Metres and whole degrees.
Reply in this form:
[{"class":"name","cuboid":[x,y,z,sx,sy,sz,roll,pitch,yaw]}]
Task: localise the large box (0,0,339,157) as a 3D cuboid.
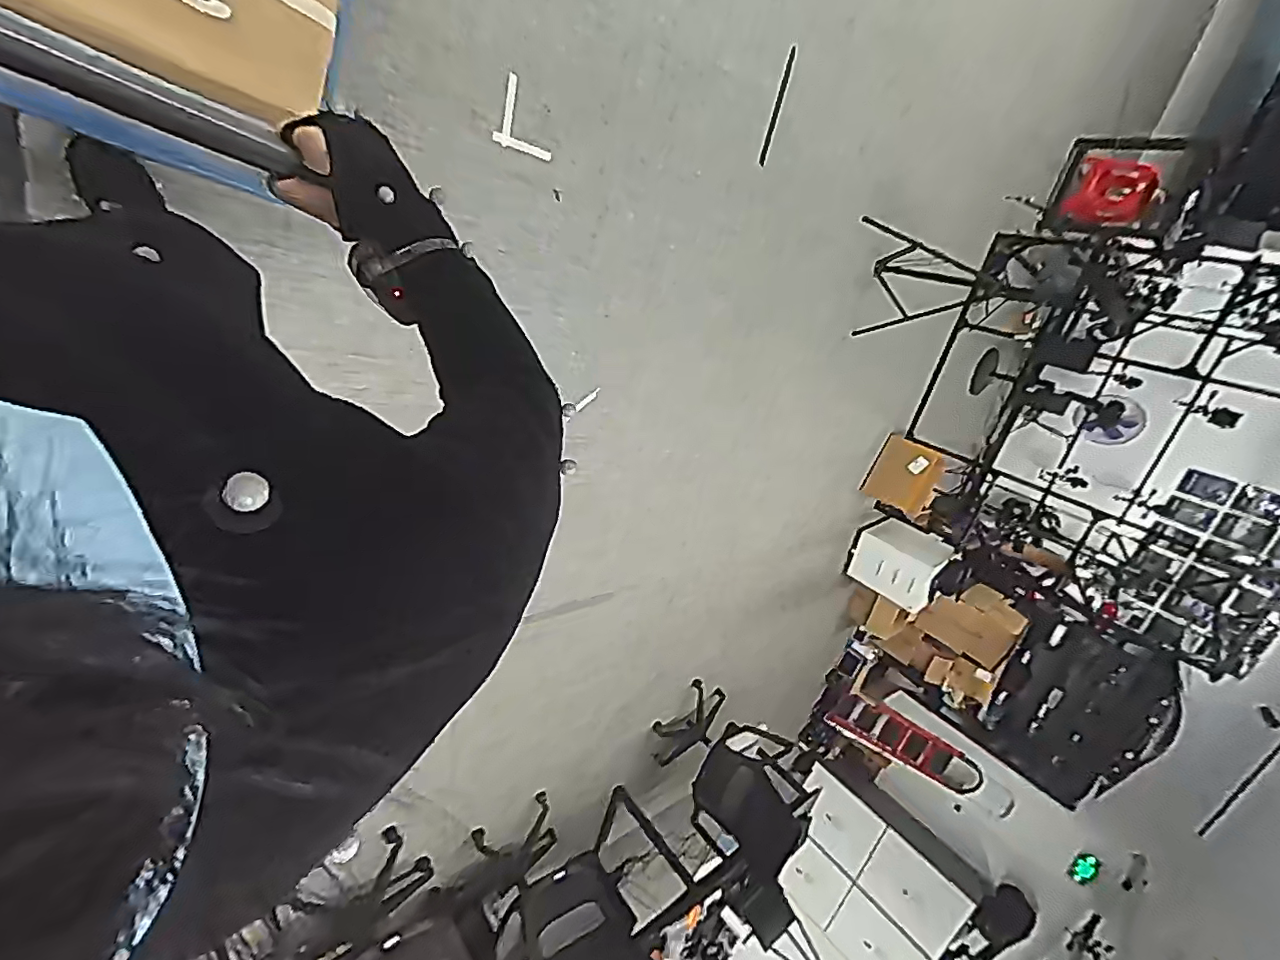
[{"class":"large box","cuboid":[-0.645,-0.659,0.672,0.408,0.320,0.320,5,109,-47]}]
